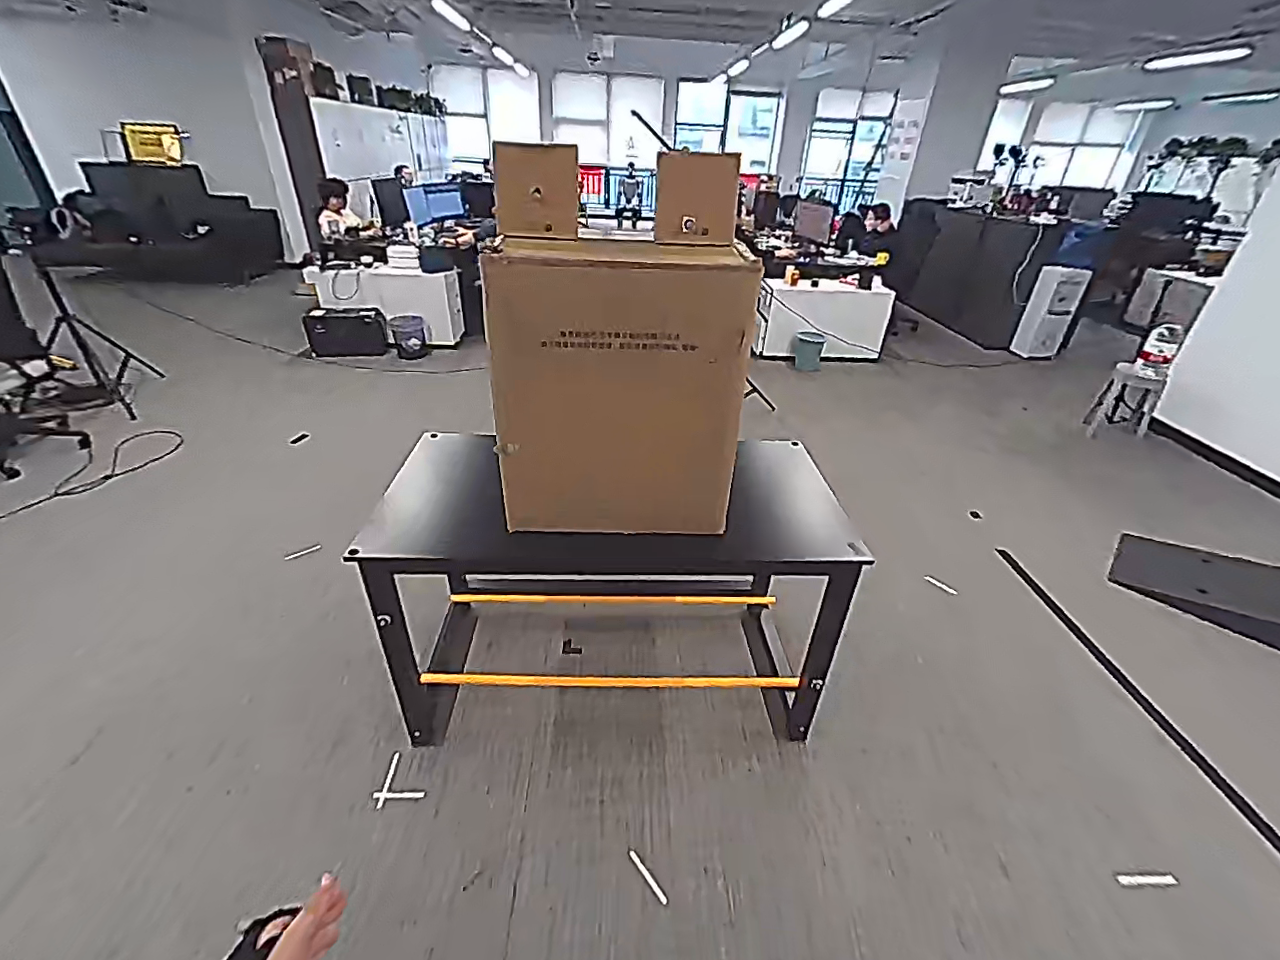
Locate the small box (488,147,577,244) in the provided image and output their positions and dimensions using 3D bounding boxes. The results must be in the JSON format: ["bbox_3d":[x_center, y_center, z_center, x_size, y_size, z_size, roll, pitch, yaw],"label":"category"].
[{"bbox_3d":[-0.218,-0.598,1.138,0.168,0.176,0.179,-1,31,-7],"label":"small box"}]

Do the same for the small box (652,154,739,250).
[{"bbox_3d":[0.109,-0.590,1.147,0.168,0.176,0.179,-1,31,0],"label":"small box"}]
